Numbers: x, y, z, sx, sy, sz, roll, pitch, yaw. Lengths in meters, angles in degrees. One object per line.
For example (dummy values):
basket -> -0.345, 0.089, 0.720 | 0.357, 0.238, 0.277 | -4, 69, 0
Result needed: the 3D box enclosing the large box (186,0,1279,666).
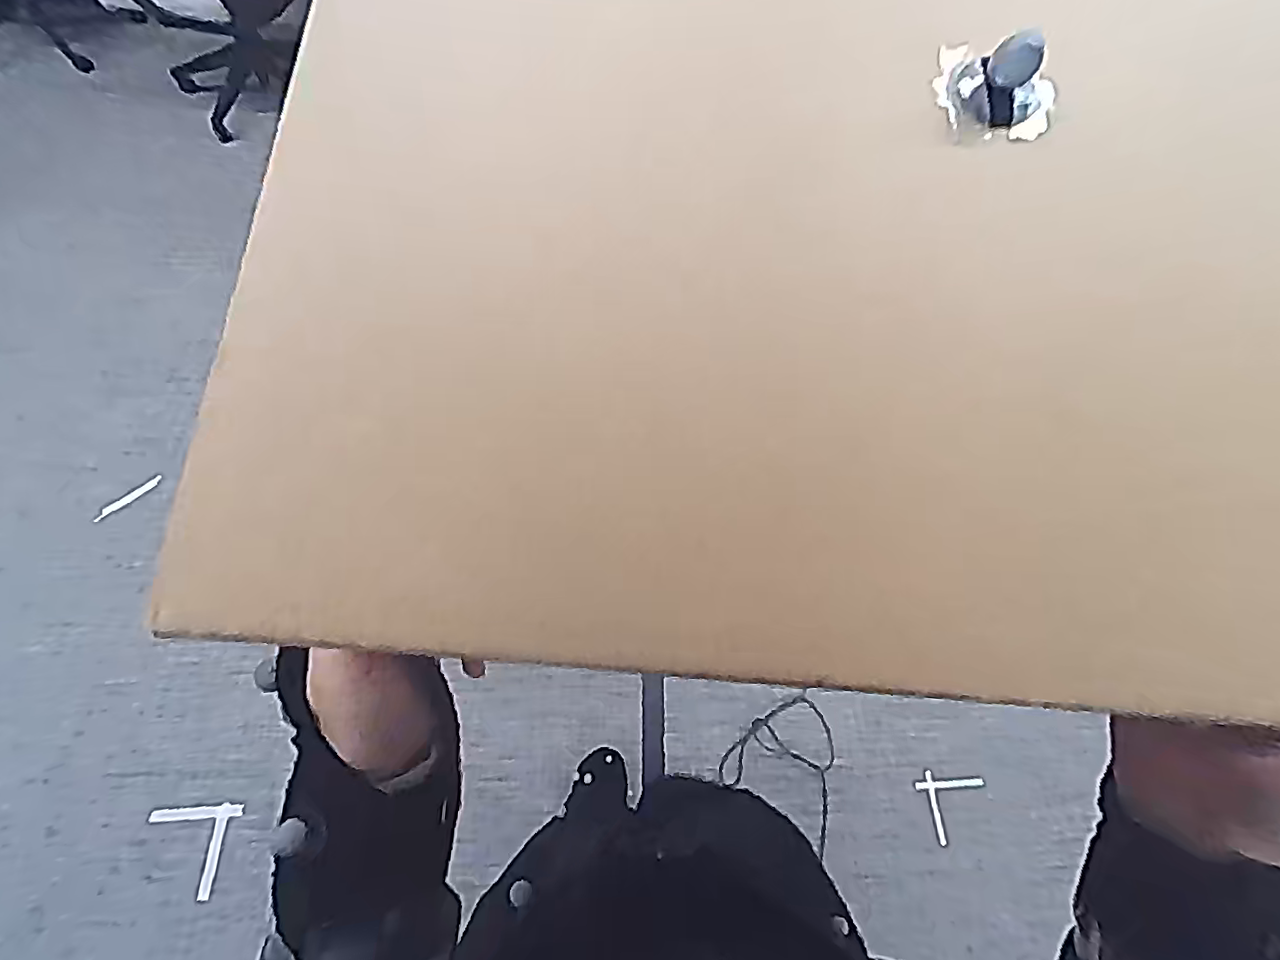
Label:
large box -> 0.092, -0.080, 0.304 | 0.408, 0.320, 0.320 | 4, 79, 1
